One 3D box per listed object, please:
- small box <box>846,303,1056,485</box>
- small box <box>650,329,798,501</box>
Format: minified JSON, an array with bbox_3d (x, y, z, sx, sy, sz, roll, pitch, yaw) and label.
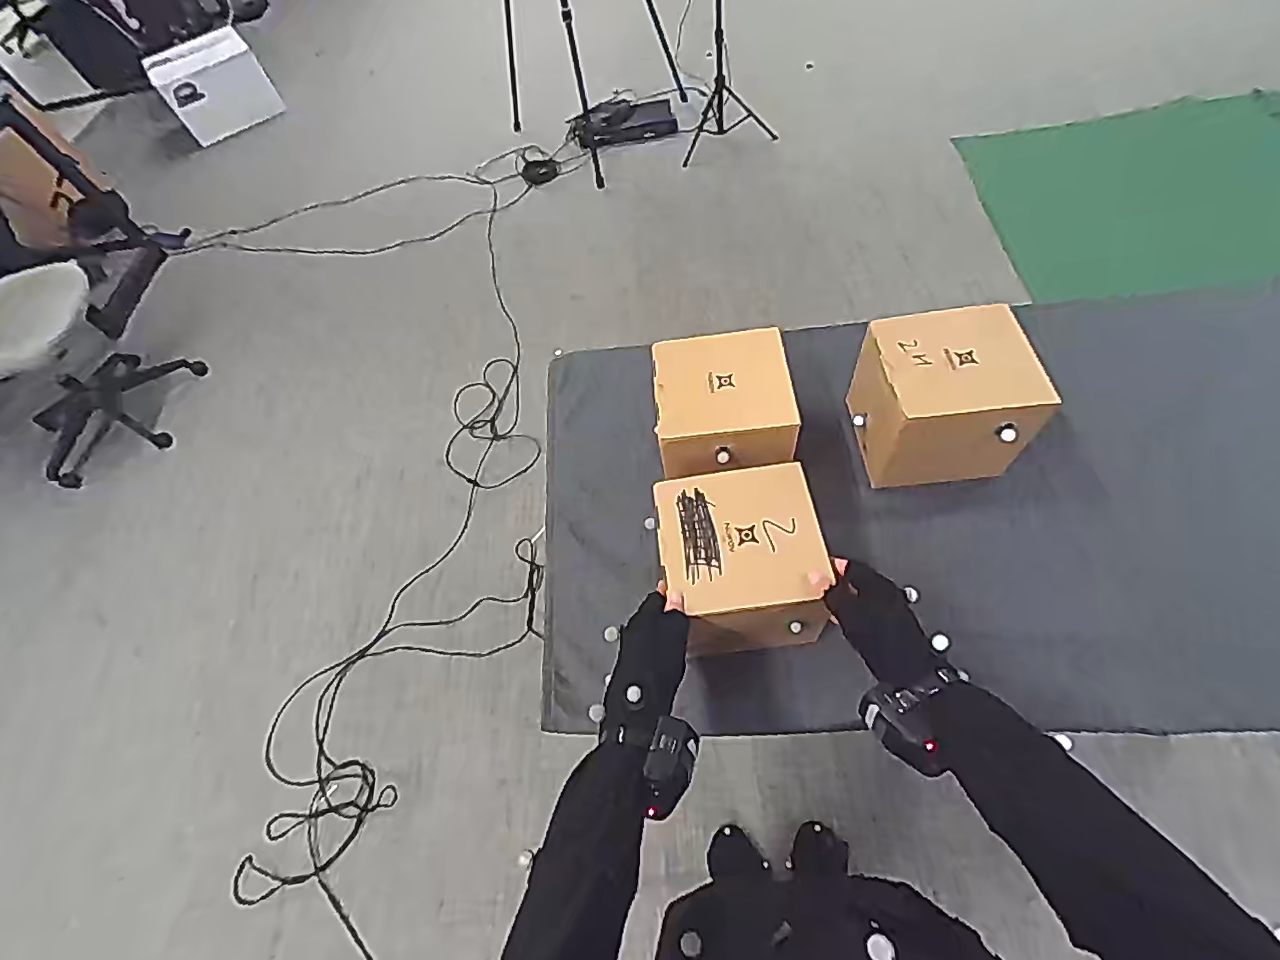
[{"bbox_3d":[0.396,-0.108,0.728,0.179,0.176,0.168,-6,59,6],"label":"small box"},{"bbox_3d":[0.113,-0.084,0.767,0.179,0.176,0.168,-7,59,6],"label":"small box"}]
